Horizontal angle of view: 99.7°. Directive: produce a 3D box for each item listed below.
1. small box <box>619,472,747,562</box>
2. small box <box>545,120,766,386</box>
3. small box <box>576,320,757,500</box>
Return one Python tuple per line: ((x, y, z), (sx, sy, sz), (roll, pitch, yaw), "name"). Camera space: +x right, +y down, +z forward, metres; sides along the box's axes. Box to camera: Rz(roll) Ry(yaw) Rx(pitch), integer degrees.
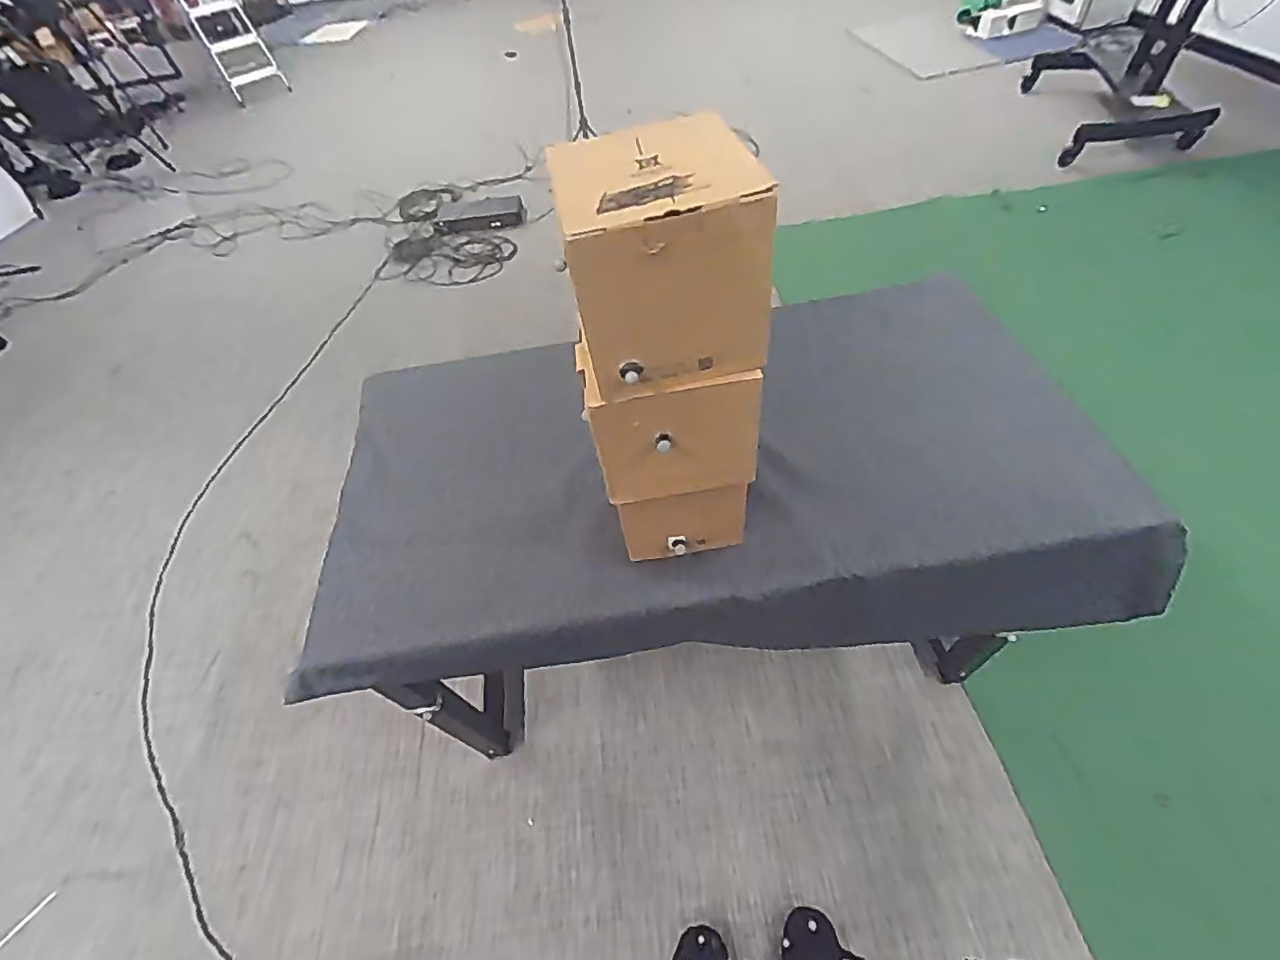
((0.049, -0.008, 0.778), (0.168, 0.176, 0.179), (-12, 52, 0), "small box")
((0.014, -0.208, 0.519), (0.168, 0.176, 0.179), (-13, 50, -1), "small box")
((0.032, -0.096, 0.643), (0.179, 0.176, 0.168), (-11, 49, -1), "small box")
